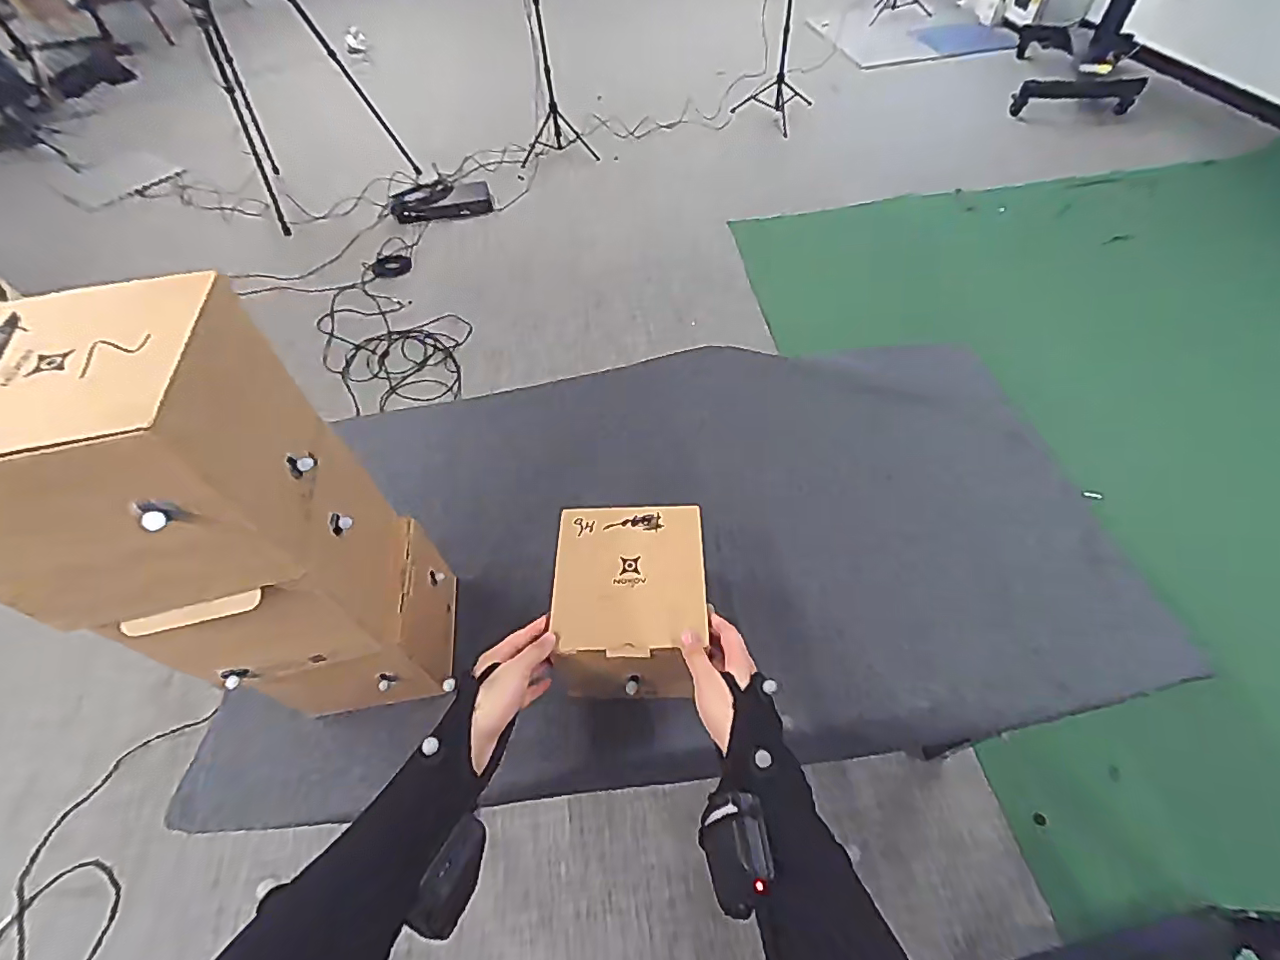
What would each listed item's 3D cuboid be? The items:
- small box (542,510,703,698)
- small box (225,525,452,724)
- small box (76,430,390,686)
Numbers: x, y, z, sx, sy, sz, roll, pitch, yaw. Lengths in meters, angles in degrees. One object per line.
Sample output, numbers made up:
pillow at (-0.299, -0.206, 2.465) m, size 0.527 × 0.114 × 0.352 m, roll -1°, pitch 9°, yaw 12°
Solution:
small box at (-0.011, 0.155, 0.650) m, size 0.168 × 0.176 × 0.179 m, roll -2°, pitch 53°, yaw 4°
small box at (-0.342, 0.180, 0.661) m, size 0.179 × 0.176 × 0.168 m, roll -11°, pitch 52°, yaw -2°
small box at (-0.363, 0.084, 0.529) m, size 0.168 × 0.176 × 0.179 m, roll -13°, pitch 51°, yaw -6°
